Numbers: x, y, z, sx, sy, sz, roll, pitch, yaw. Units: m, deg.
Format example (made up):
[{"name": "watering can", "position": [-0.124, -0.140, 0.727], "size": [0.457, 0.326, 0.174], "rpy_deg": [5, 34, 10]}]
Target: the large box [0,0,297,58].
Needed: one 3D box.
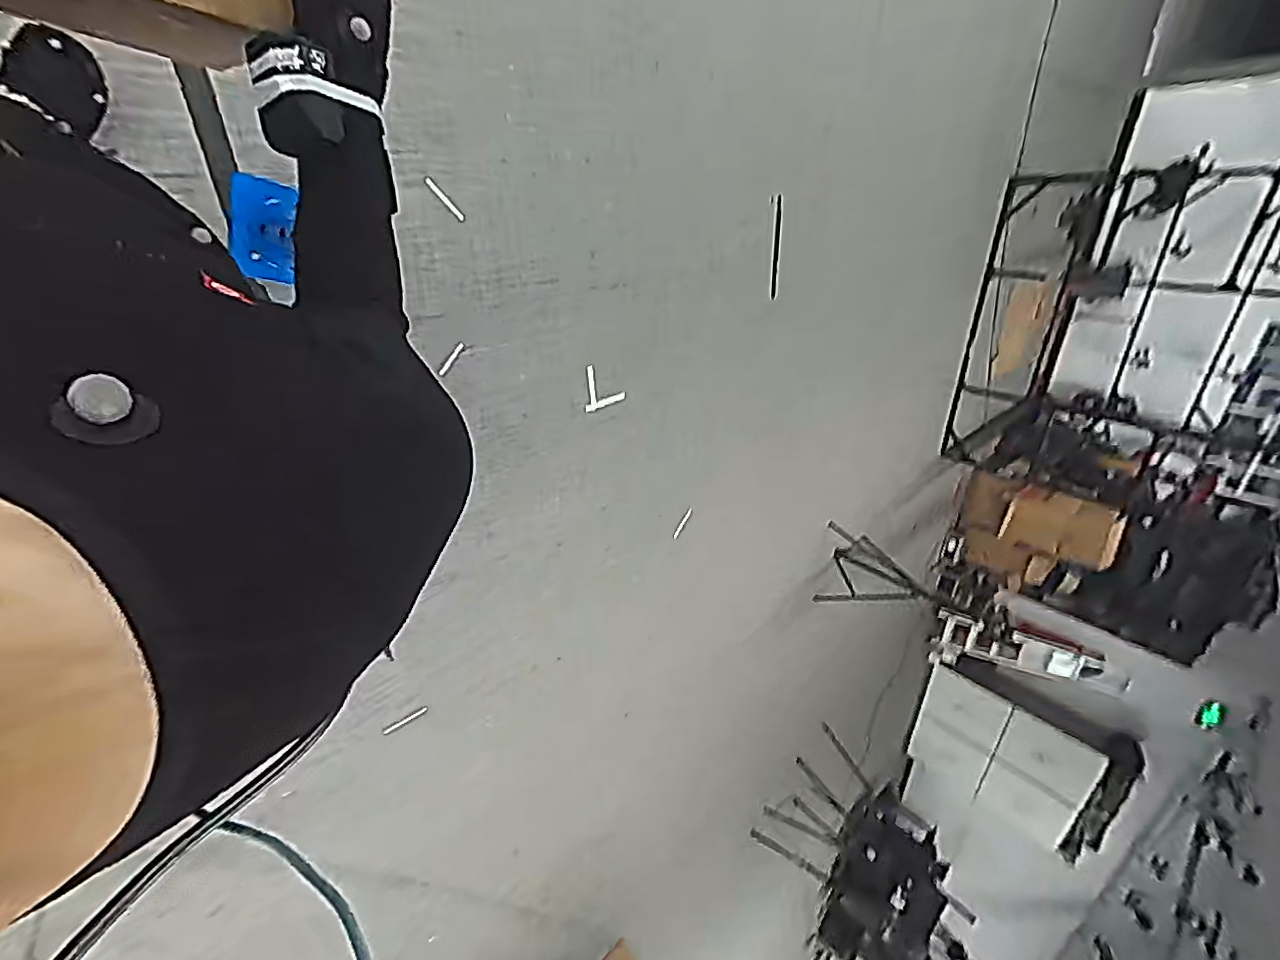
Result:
[{"name": "large box", "position": [-0.475, -0.500, 0.302], "size": [0.408, 0.320, 0.320], "rpy_deg": [-13, 123, -43]}]

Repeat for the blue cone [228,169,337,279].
[{"name": "blue cone", "position": [-0.663, -0.490, 1.057], "size": [0.193, 0.380, 0.192], "rpy_deg": [0, 109, -45]}]
